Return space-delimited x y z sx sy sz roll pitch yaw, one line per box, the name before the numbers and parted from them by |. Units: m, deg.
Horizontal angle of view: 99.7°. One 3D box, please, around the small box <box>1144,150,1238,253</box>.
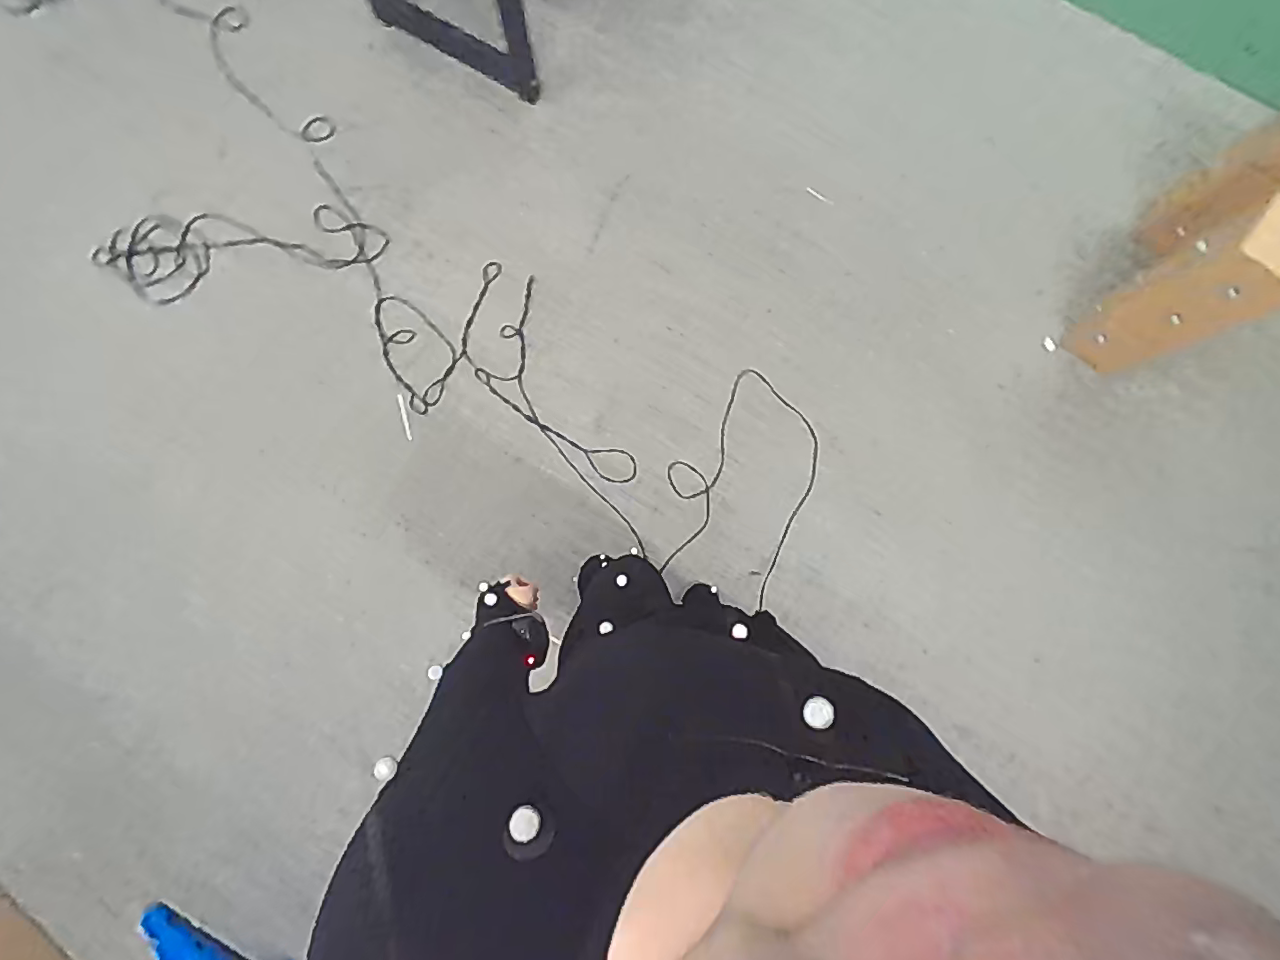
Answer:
small box | 1.601 -0.774 1.529 0.179 0.176 0.168 35 85 4
